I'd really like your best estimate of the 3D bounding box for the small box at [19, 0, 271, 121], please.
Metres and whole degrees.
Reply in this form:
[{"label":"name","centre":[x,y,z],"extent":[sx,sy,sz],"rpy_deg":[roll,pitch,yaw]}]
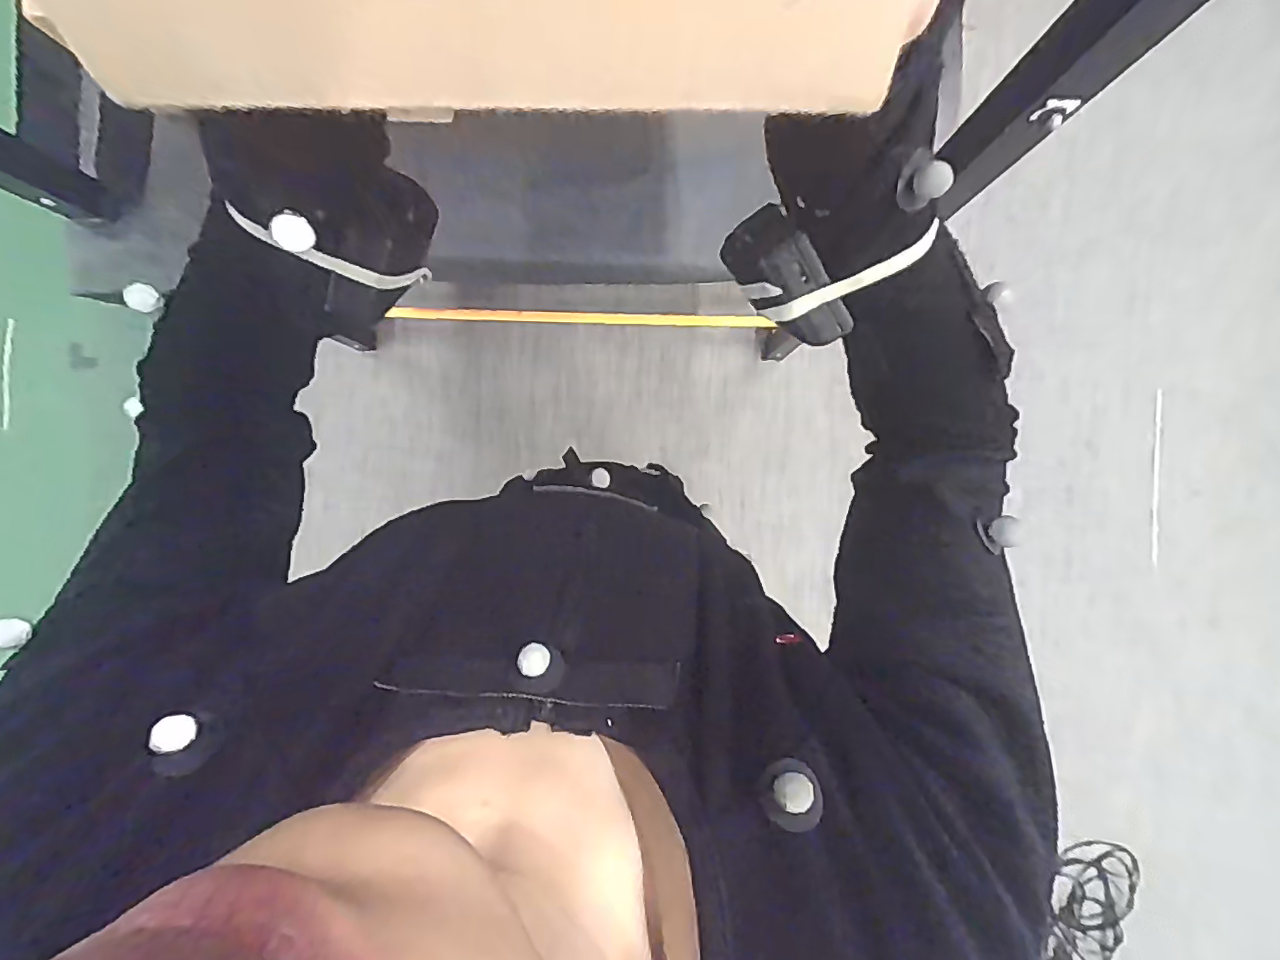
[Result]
[{"label":"small box","centre":[-0.596,-0.593,0.674],"extent":[0.168,0.176,0.179],"rpy_deg":[3,91,0]}]
